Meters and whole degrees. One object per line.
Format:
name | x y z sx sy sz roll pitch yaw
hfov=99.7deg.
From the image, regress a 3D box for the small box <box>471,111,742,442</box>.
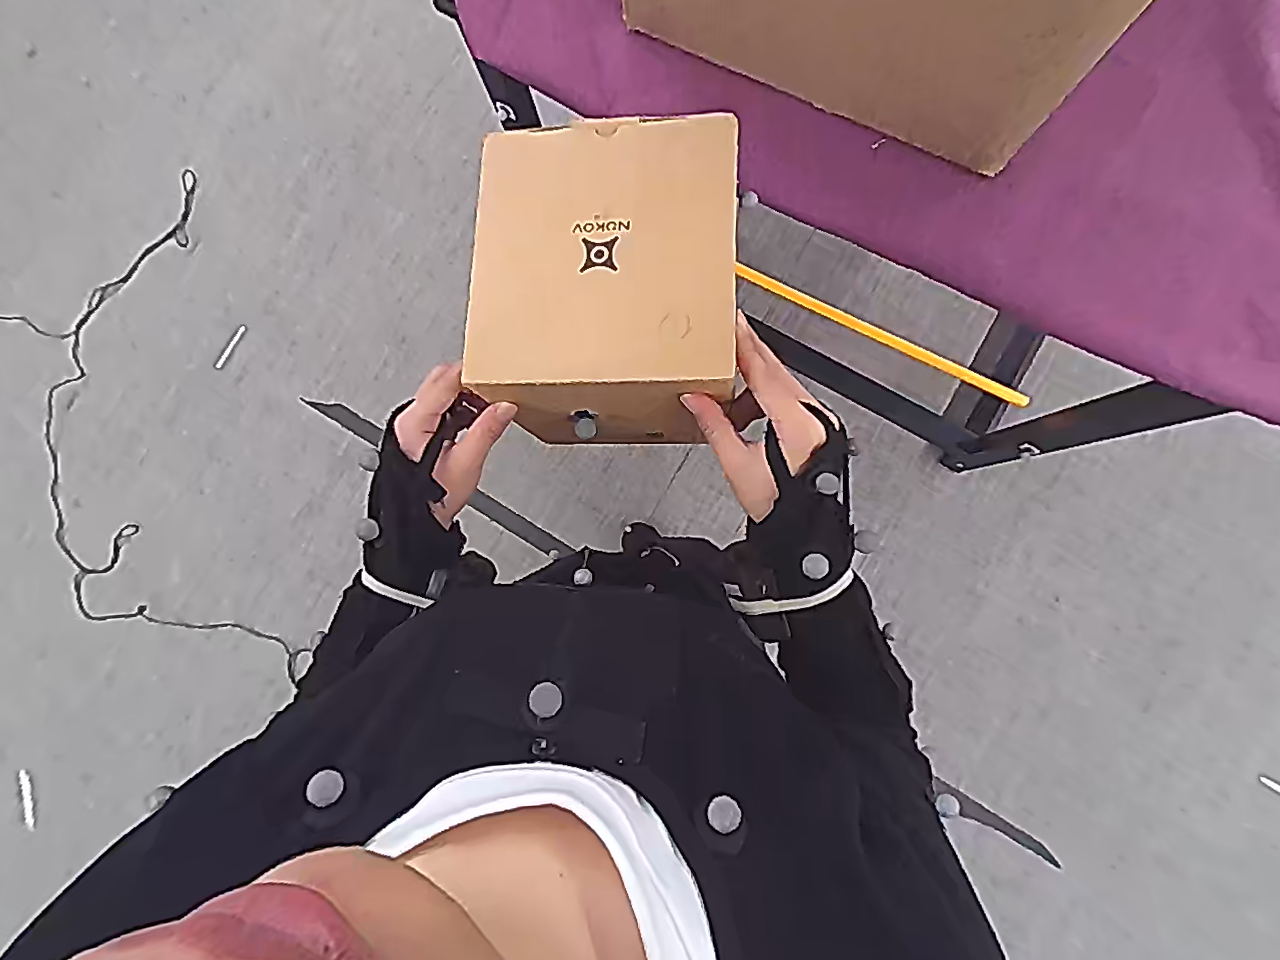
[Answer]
small box | -0.009 -0.128 0.407 0.168 0.176 0.179 0 80 8
